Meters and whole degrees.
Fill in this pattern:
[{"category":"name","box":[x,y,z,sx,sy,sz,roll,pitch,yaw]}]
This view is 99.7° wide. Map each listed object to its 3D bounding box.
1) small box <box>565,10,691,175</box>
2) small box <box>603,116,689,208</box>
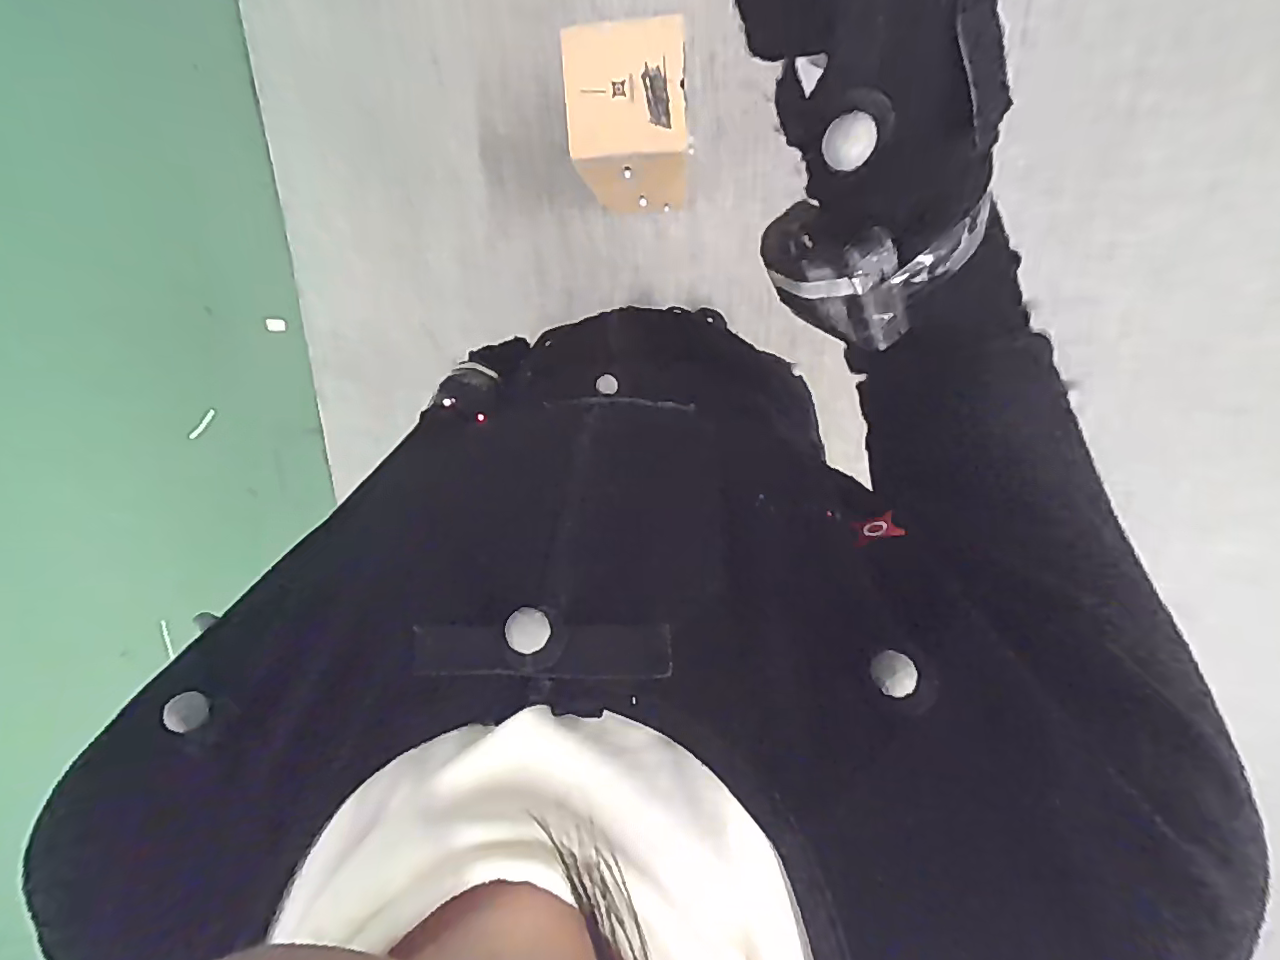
[{"category":"small box","box":[-0.014,-0.588,0.841,0.179,0.176,0.168,2,106,4]},{"category":"small box","box":[0.015,-0.689,1.155,0.179,0.176,0.168,-1,107,6]}]
